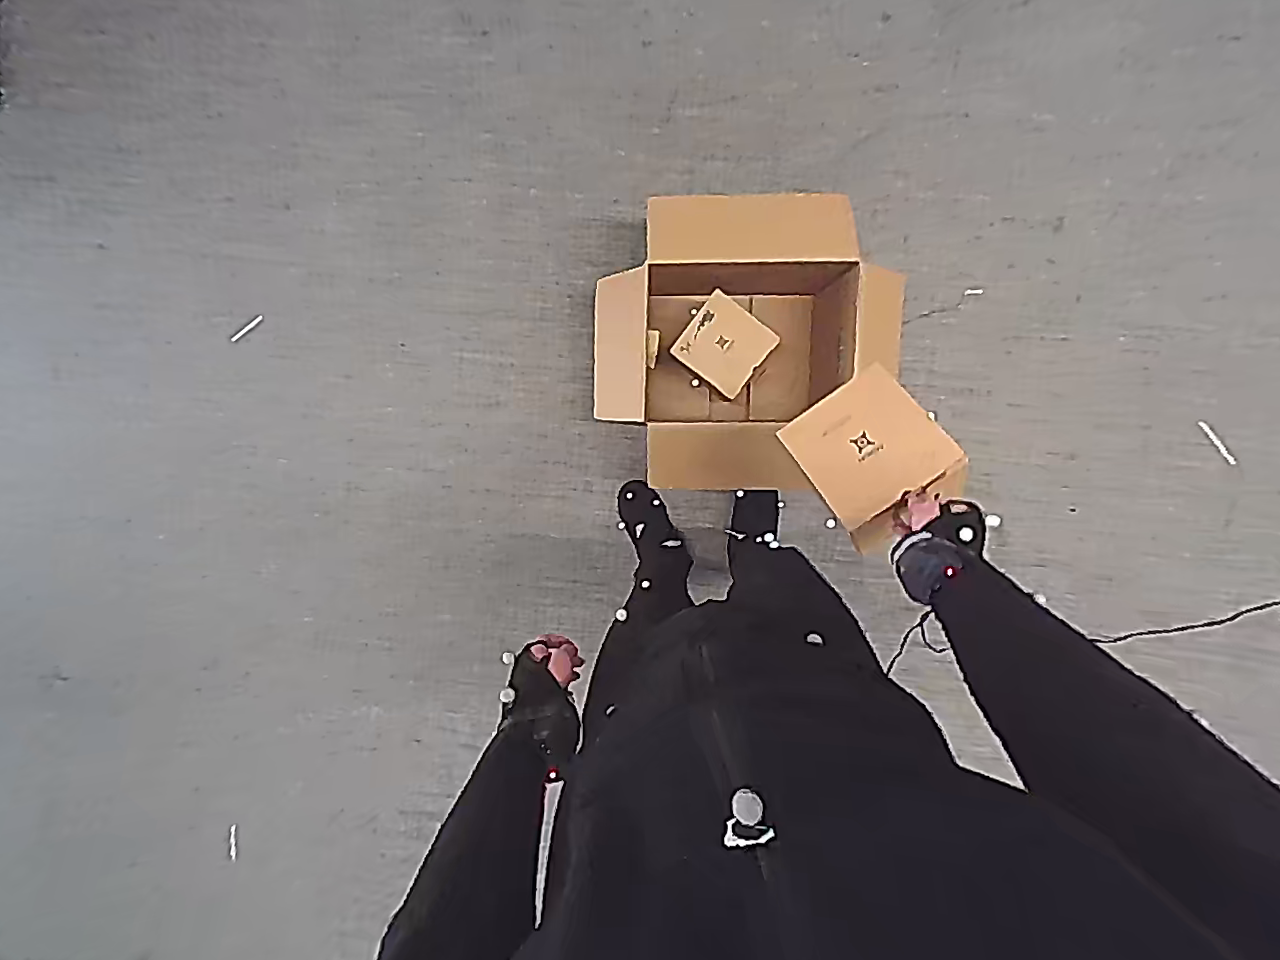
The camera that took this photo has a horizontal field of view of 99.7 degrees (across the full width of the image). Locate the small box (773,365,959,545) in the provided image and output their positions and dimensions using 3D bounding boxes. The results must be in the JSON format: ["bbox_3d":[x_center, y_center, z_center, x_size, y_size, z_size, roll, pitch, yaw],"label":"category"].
[{"bbox_3d":[0.323,-0.023,0.775,0.168,0.176,0.179,-36,58,10],"label":"small box"}]
